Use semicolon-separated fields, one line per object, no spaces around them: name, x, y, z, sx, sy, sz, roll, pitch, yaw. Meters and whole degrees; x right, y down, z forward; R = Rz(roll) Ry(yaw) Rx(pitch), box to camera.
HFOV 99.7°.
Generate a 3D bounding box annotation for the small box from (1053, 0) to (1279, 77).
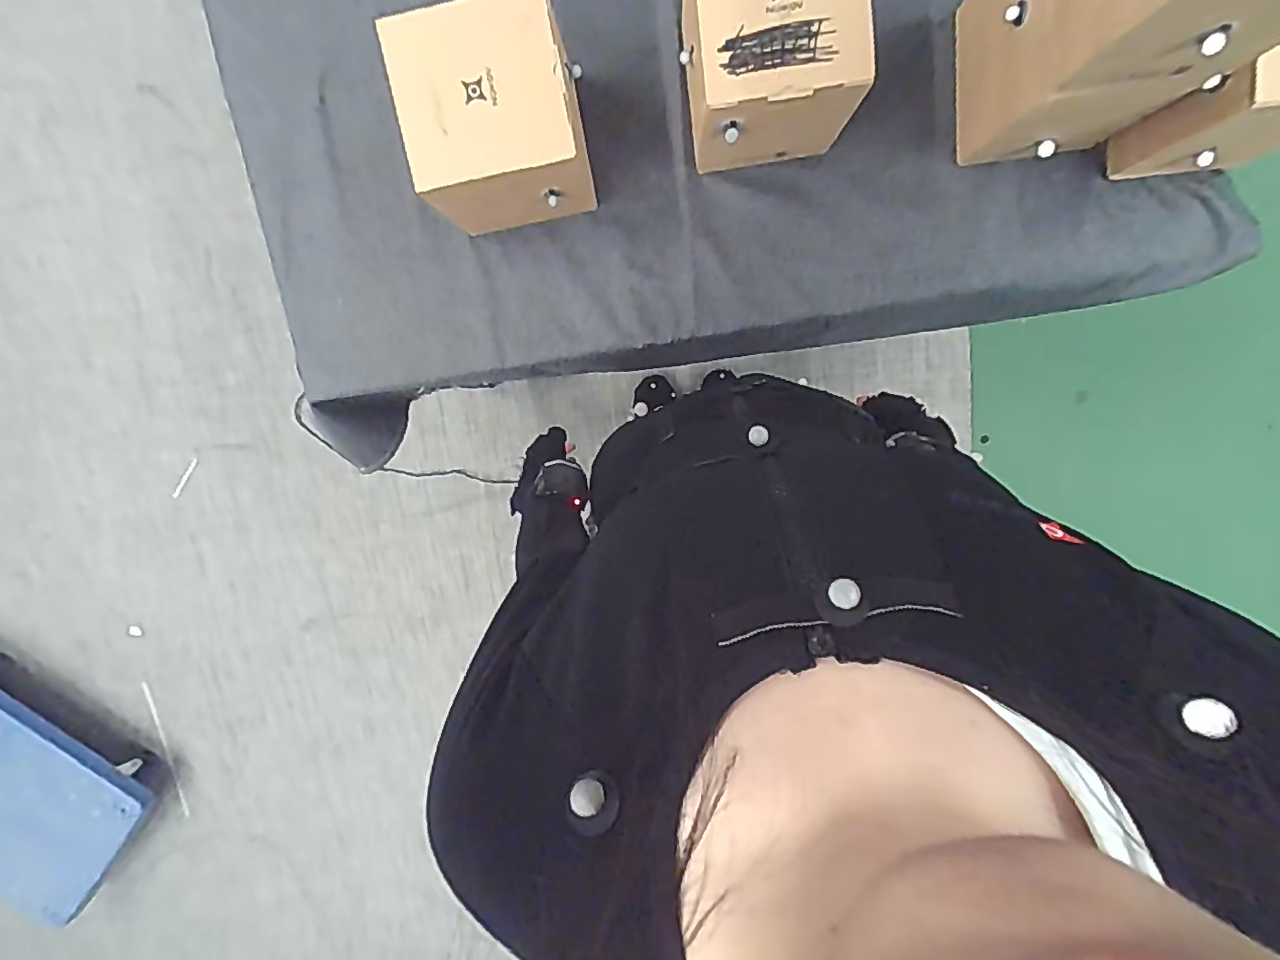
small box;0.460;-0.449;0.418;0.168;0.176;0.179;-4;99;3
